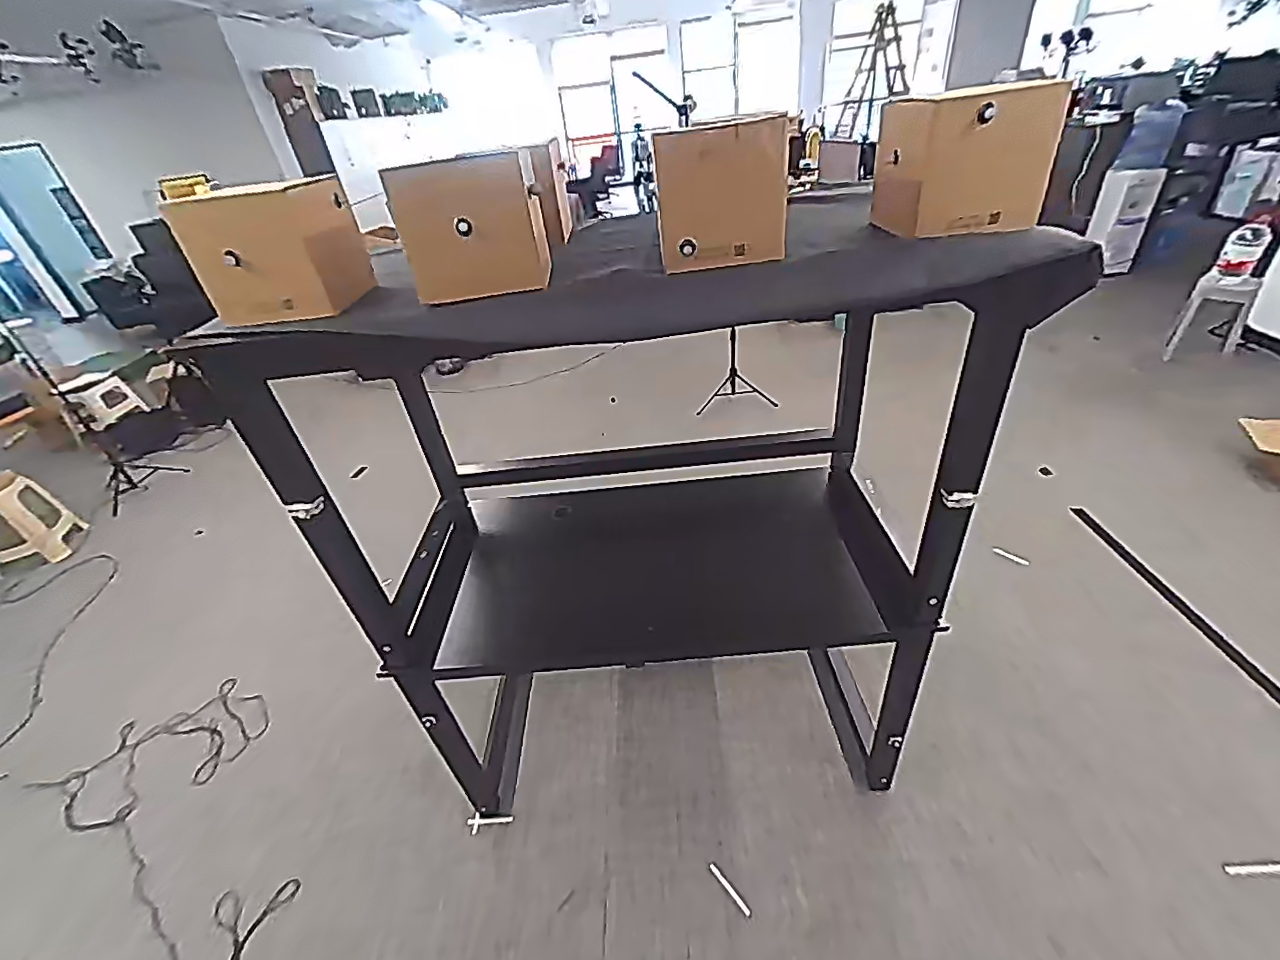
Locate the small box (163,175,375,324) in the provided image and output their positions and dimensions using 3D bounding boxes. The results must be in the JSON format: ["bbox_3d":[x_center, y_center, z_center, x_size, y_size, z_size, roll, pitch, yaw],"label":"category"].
[{"bbox_3d":[-0.523,-0.336,0.799,0.168,0.176,0.179,-6,35,1],"label":"small box"}]

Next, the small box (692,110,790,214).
[{"bbox_3d":[0.185,-0.582,1.016,0.168,0.176,0.179,-2,35,7],"label":"small box"}]

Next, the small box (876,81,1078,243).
[{"bbox_3d":[0.447,-0.440,0.758,0.168,0.176,0.179,-7,34,4],"label":"small box"}]

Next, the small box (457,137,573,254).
[{"bbox_3d":[-0.225,-0.537,1.028,0.168,0.176,0.179,-5,35,2],"label":"small box"}]

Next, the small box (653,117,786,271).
[{"bbox_3d":[0.109,-0.403,0.769,0.168,0.176,0.179,-6,32,4],"label":"small box"}]
